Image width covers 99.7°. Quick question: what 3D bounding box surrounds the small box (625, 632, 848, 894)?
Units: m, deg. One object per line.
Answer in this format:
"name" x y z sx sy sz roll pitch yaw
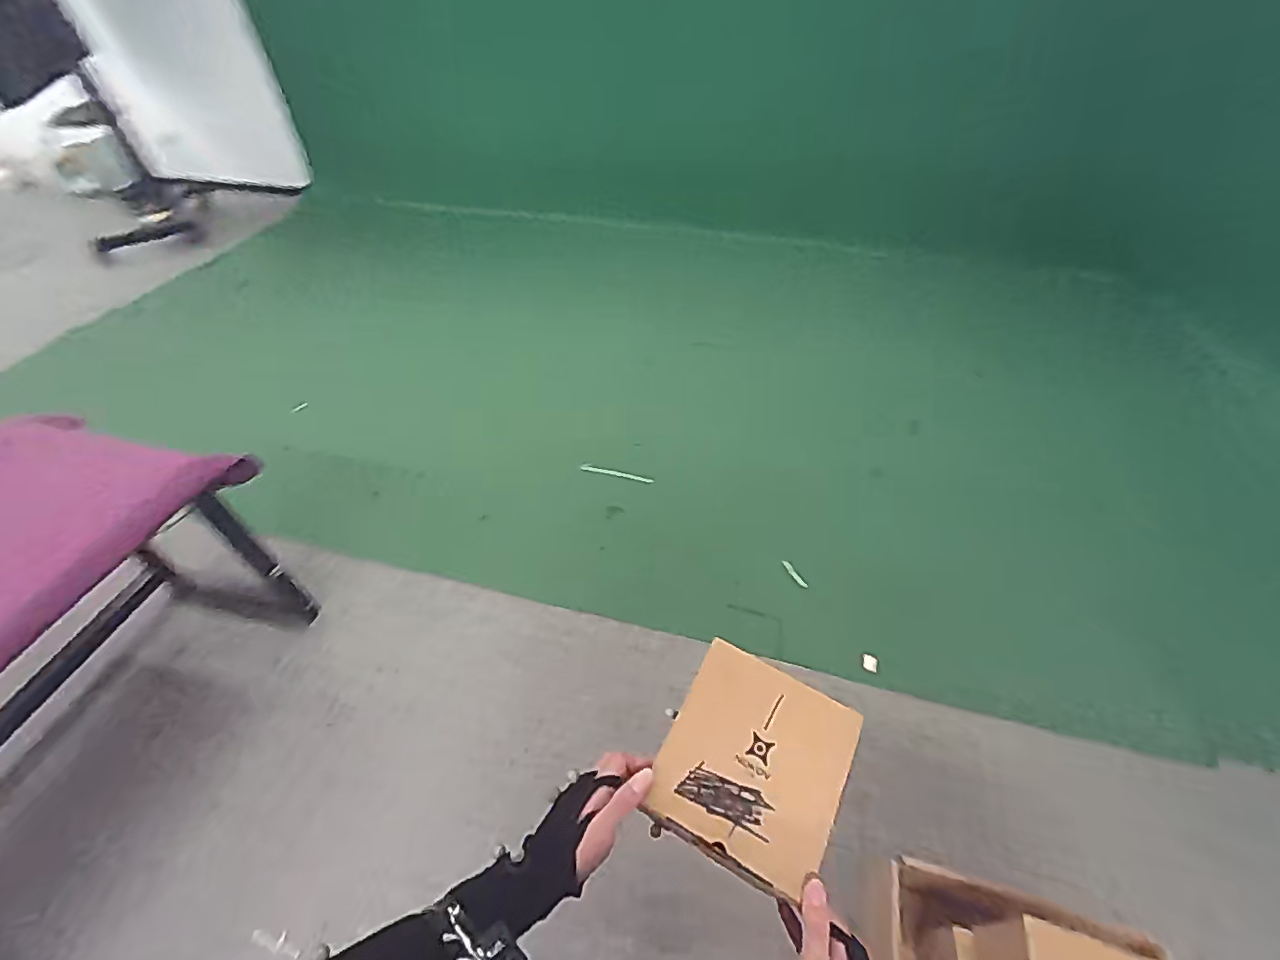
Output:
"small box" 0.097 0.303 0.585 0.168 0.176 0.179 25 58 14

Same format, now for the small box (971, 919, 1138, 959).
"small box" 0.547 0.687 0.674 0.179 0.176 0.168 14 47 13
